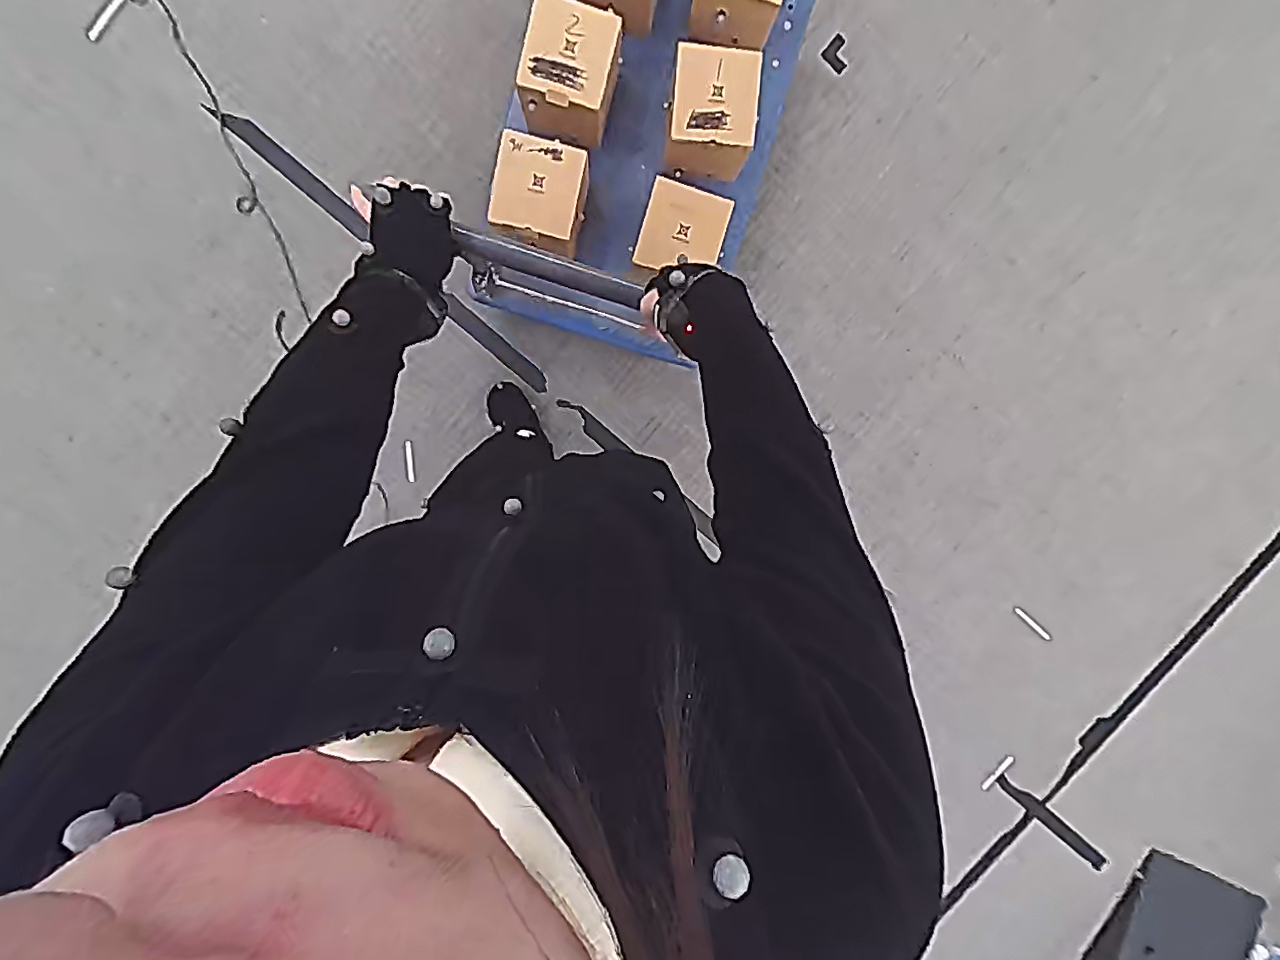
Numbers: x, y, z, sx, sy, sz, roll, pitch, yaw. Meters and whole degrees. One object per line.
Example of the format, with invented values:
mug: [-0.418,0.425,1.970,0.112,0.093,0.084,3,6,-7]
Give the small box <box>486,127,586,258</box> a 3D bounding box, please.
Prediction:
small box: [-0.209,-0.586,1.130,0.168,0.176,0.179,13,98,-6]

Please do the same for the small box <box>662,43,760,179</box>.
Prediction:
small box: [0.139,-0.757,1.130,0.168,0.176,0.179,4,97,-4]

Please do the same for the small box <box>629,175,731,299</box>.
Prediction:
small box: [0.077,-0.508,1.162,0.168,0.176,0.179,17,96,-7]

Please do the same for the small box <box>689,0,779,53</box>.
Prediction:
small box: [0.202,-1.020,1.096,0.168,0.176,0.179,13,97,-6]

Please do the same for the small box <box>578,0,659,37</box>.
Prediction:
small box: [-0.030,-1.049,1.073,0.168,0.176,0.179,18,97,-6]
